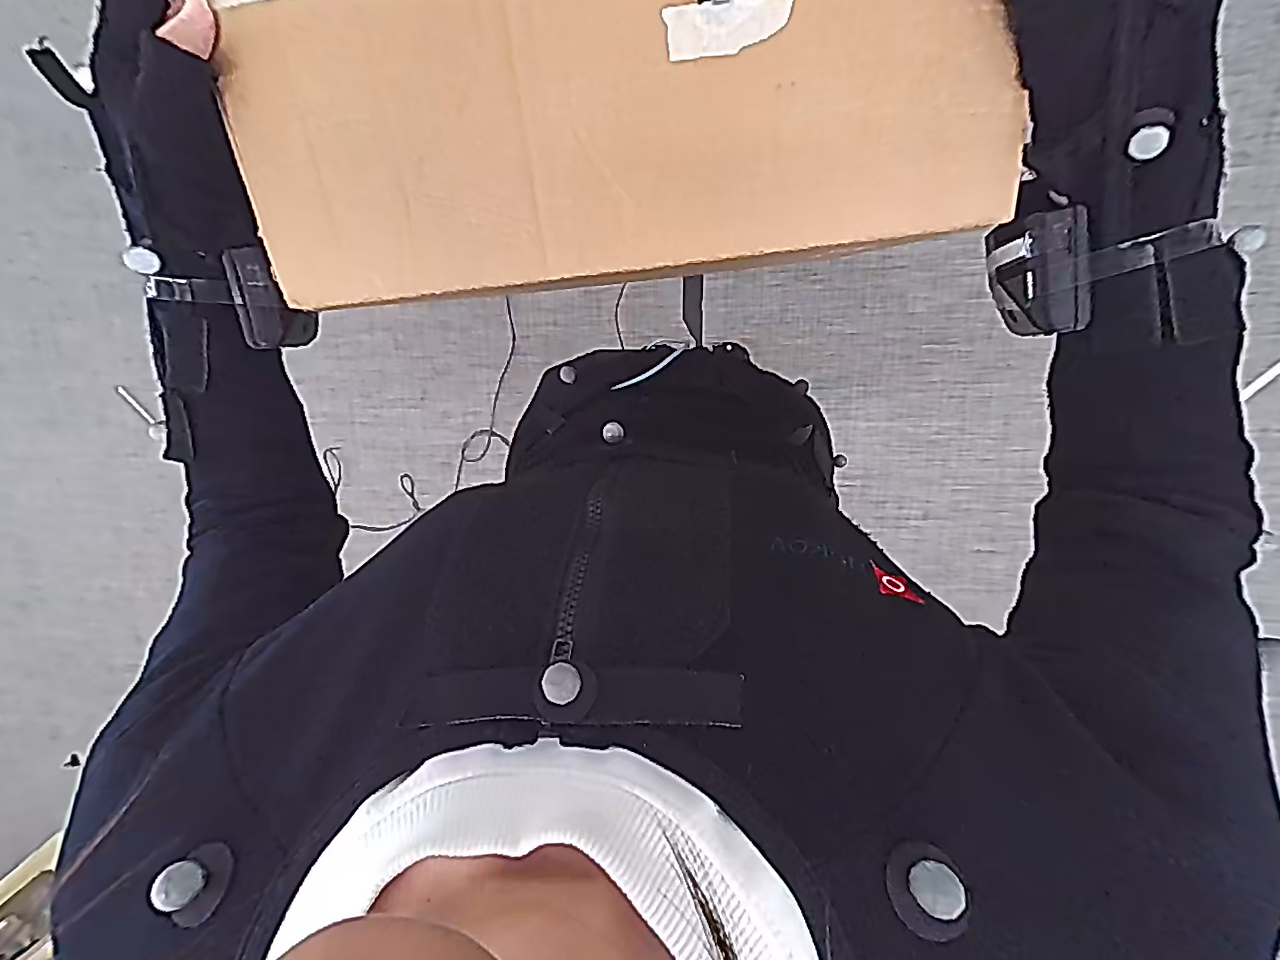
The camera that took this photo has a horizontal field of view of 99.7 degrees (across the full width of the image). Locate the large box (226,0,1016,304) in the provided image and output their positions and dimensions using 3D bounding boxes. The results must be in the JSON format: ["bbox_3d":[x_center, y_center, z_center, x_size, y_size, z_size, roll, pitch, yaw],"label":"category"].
[{"bbox_3d":[-0.012,-0.321,0.400,0.408,0.320,0.320,-4,110,8],"label":"large box"}]
